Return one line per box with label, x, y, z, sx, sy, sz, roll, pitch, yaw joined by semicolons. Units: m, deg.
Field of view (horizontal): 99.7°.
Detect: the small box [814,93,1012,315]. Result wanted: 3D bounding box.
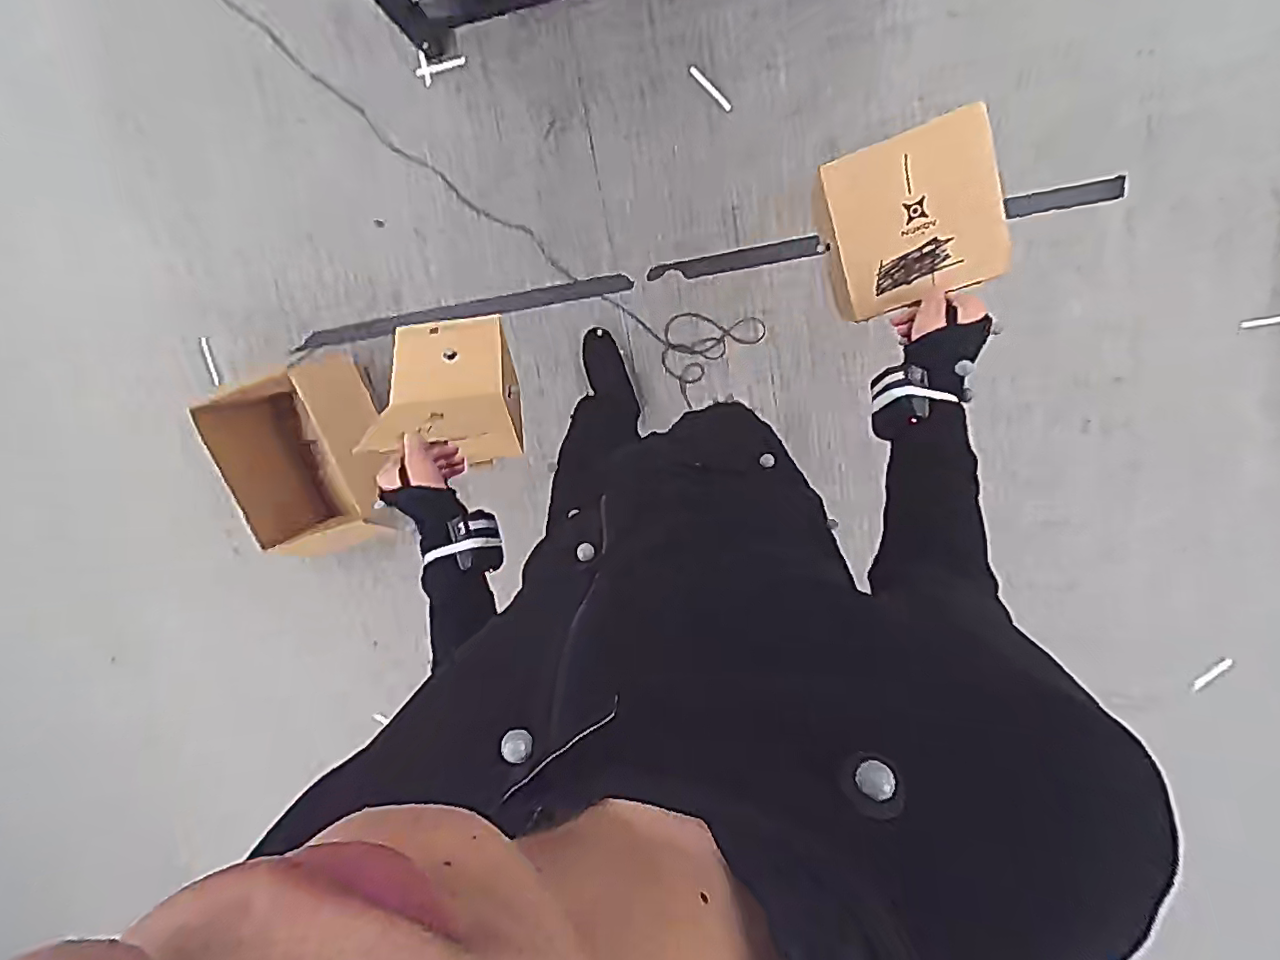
small box;0.315;-0.312;0.653;0.168;0.176;0.179;-14;103;17
